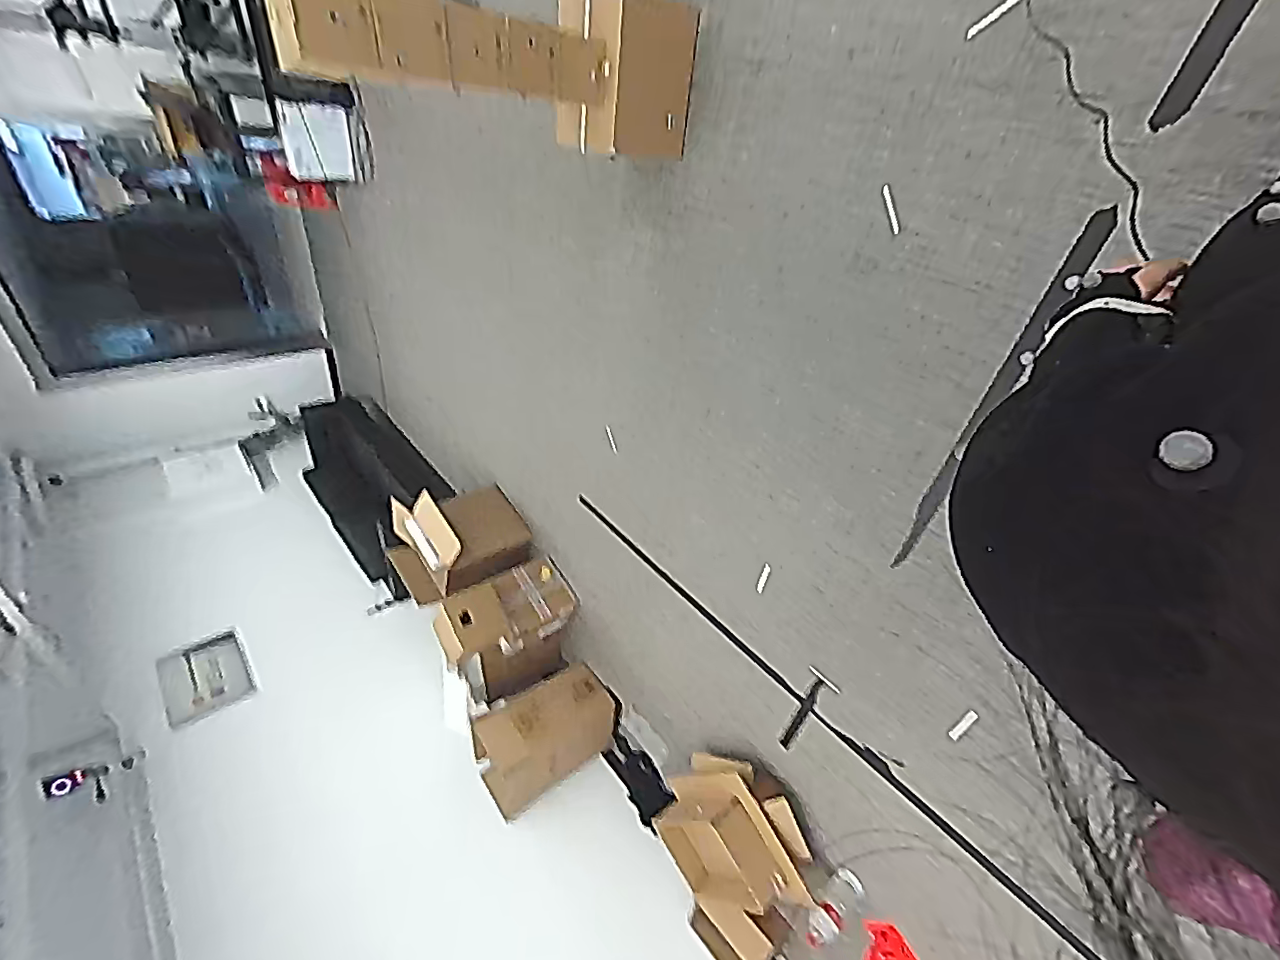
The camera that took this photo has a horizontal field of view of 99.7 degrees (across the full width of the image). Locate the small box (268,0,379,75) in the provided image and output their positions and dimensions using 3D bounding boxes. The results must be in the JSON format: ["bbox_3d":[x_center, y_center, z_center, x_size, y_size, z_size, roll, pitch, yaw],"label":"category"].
[{"bbox_3d":[-0.696,-1.016,1.194,0.179,0.176,0.168,27,127,40],"label":"small box"}]

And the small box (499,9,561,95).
[{"bbox_3d":[-0.330,-1.170,1.484,0.179,0.176,0.168,36,132,37],"label":"small box"}]

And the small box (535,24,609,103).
[{"bbox_3d":[-0.213,-1.219,1.586,0.179,0.176,0.168,36,134,35],"label":"small box"}]

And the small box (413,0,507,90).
[{"bbox_3d":[-0.455,-1.118,1.391,0.179,0.176,0.168,31,129,39],"label":"small box"}]
